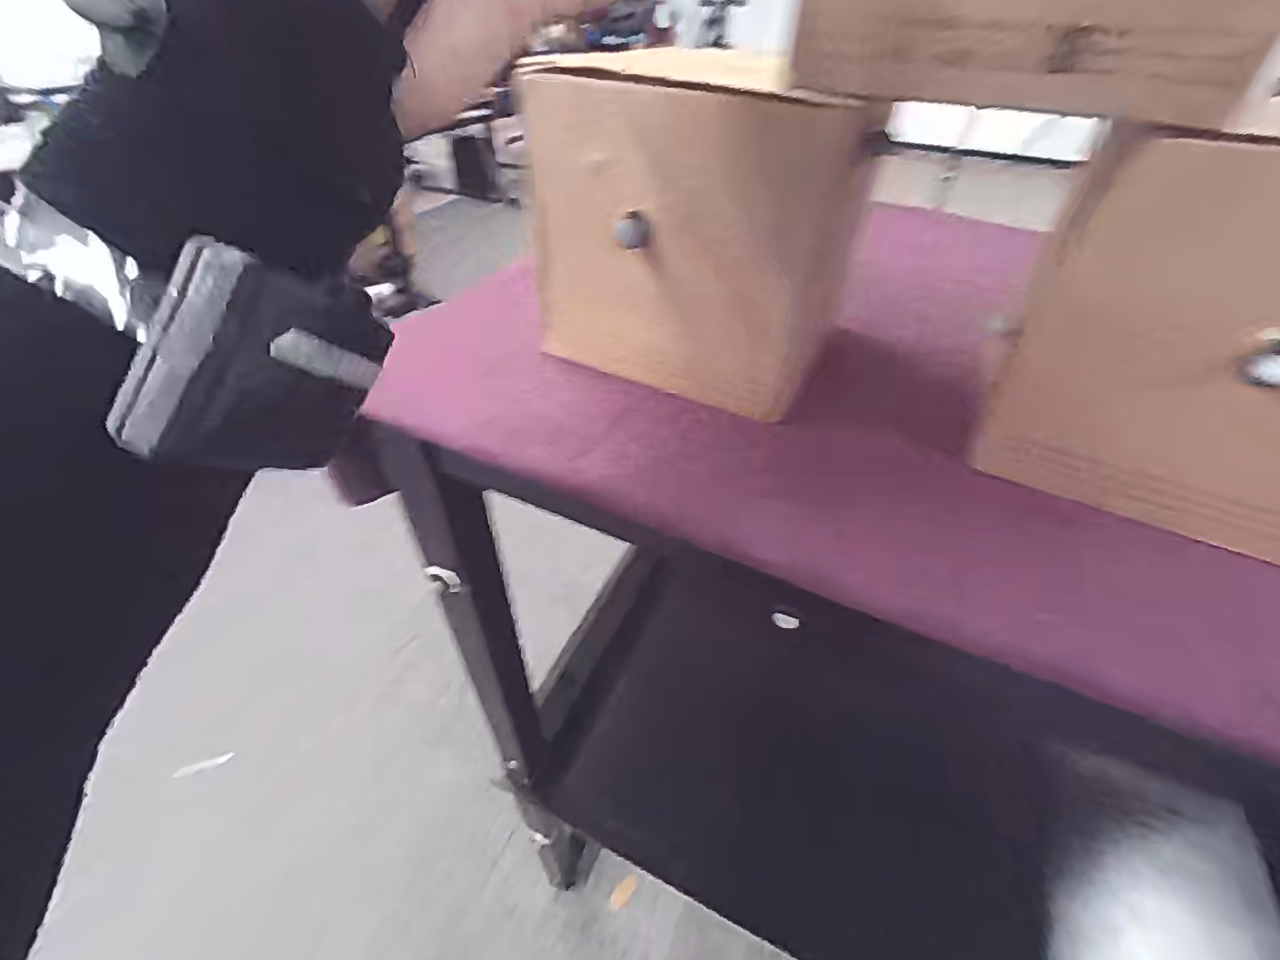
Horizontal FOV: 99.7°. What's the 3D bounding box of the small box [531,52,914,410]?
[{"bbox_3d":[0.052,-0.170,0.362,0.179,0.176,0.168,22,47,19],"label":"small box"}]
